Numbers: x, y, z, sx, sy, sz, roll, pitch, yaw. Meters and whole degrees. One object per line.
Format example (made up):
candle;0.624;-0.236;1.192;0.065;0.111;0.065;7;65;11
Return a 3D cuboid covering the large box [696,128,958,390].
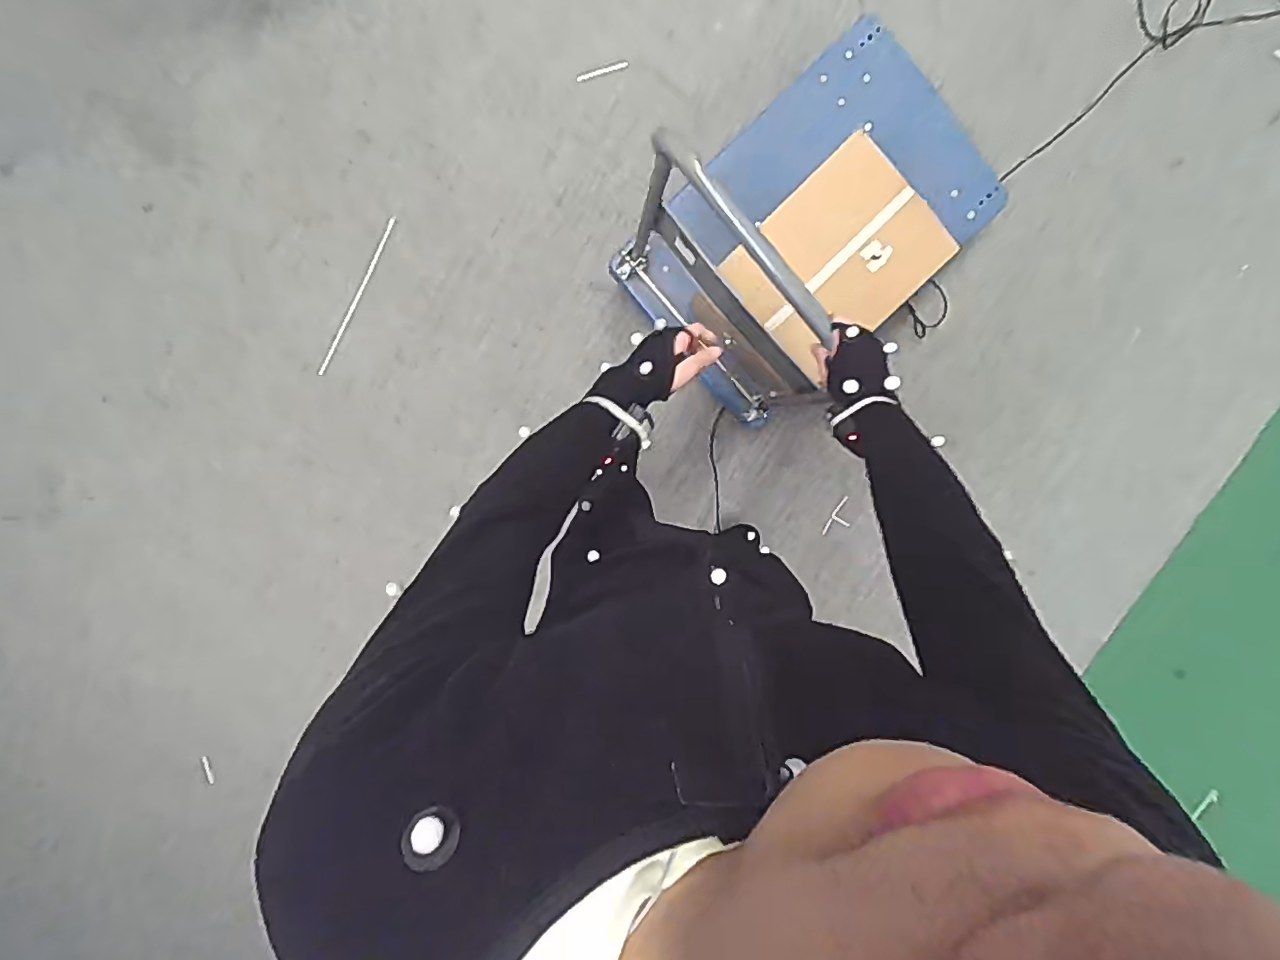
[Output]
large box;0.387;-0.456;1.222;0.408;0.320;0.320;-44;98;3
